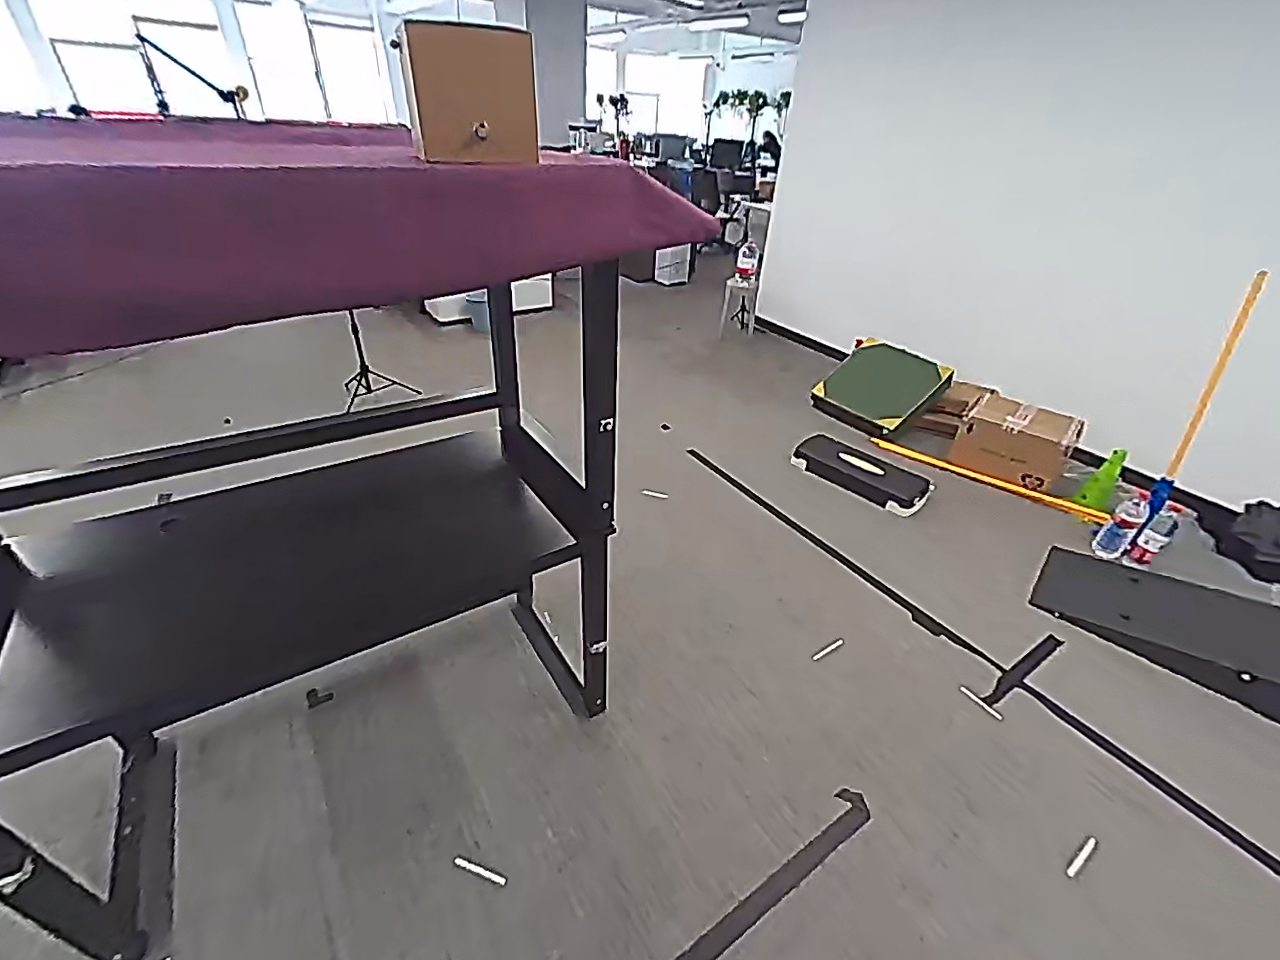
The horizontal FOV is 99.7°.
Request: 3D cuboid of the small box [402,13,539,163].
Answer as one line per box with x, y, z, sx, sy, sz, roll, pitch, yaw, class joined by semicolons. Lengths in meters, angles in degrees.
-0.260;-0.598;0.841;0.179;0.176;0.168;-11;36;-21;small box
